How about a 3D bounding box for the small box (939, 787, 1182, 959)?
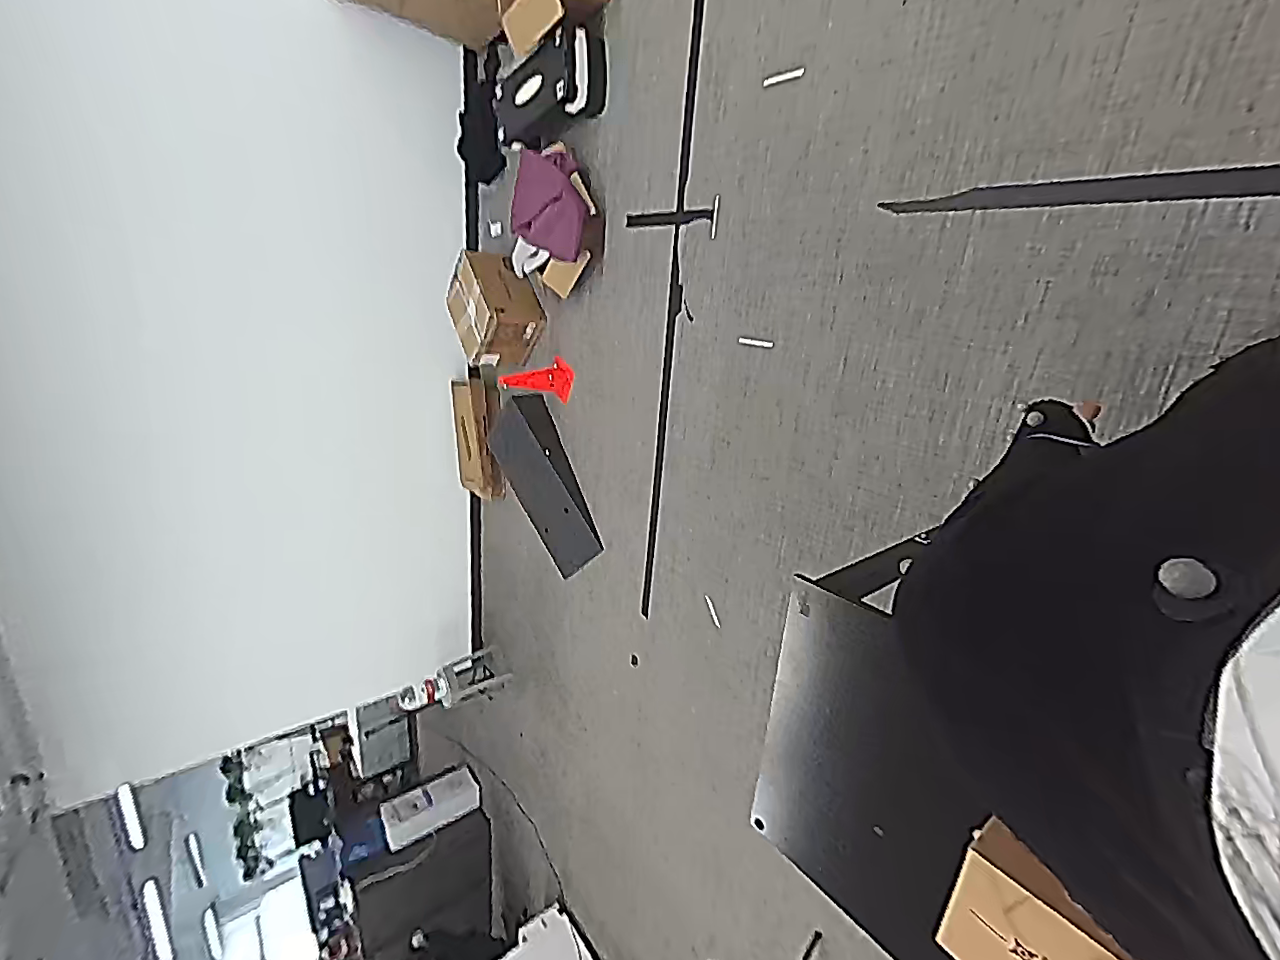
[{"bbox_3d":[0.508,0.523,0.658,0.179,0.176,0.168,26,118,47],"label":"small box"}]
